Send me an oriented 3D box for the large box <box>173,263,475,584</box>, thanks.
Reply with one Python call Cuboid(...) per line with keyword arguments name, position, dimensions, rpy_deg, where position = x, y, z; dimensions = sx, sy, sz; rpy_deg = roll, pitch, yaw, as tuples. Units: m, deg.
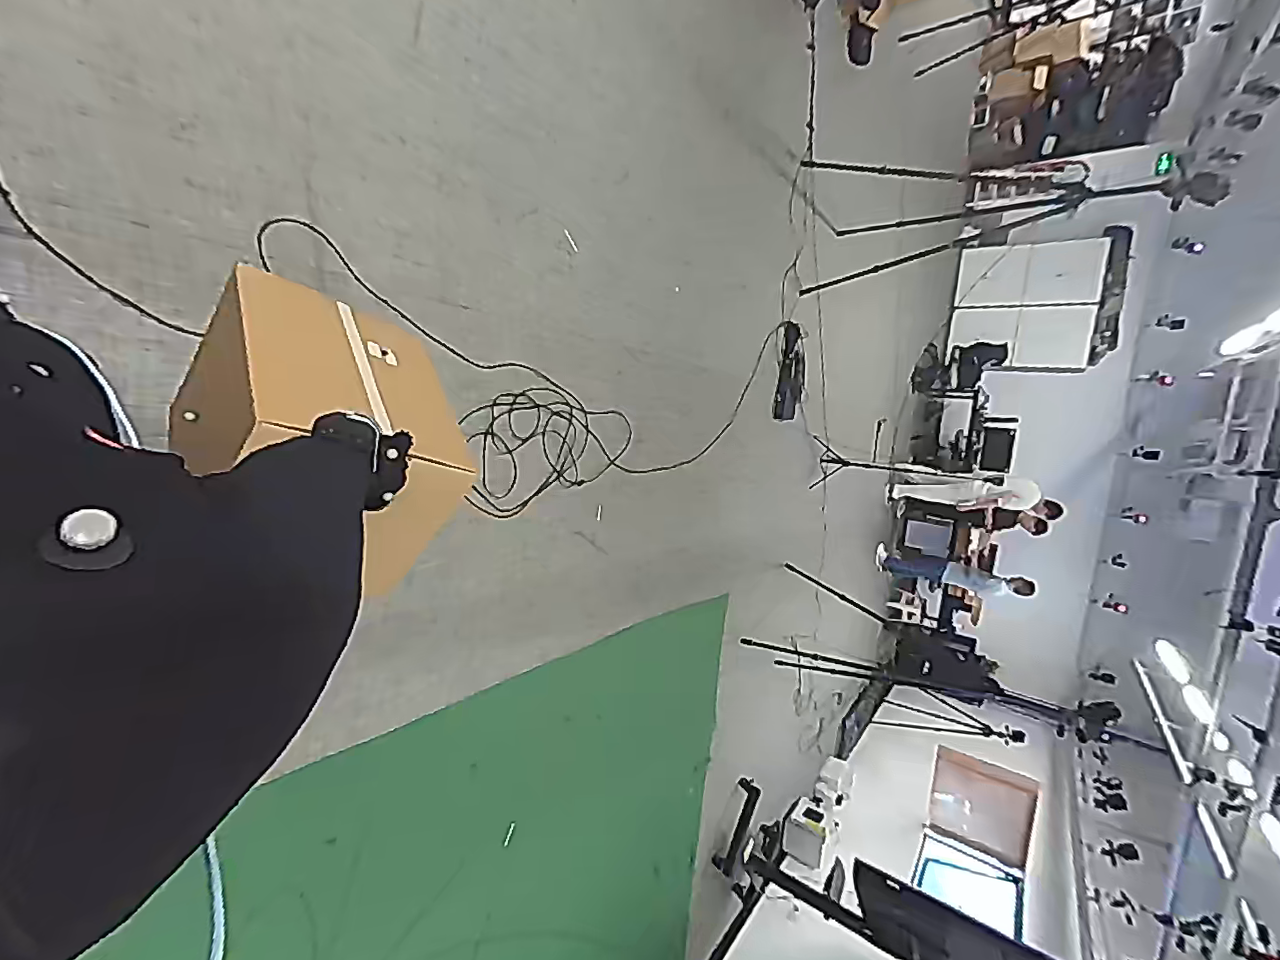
Cuboid(name="large box", position=(-0.545, -0.076, 0.912), dimensions=(0.320, 0.408, 0.320), rpy_deg=(-48, 144, 19))
